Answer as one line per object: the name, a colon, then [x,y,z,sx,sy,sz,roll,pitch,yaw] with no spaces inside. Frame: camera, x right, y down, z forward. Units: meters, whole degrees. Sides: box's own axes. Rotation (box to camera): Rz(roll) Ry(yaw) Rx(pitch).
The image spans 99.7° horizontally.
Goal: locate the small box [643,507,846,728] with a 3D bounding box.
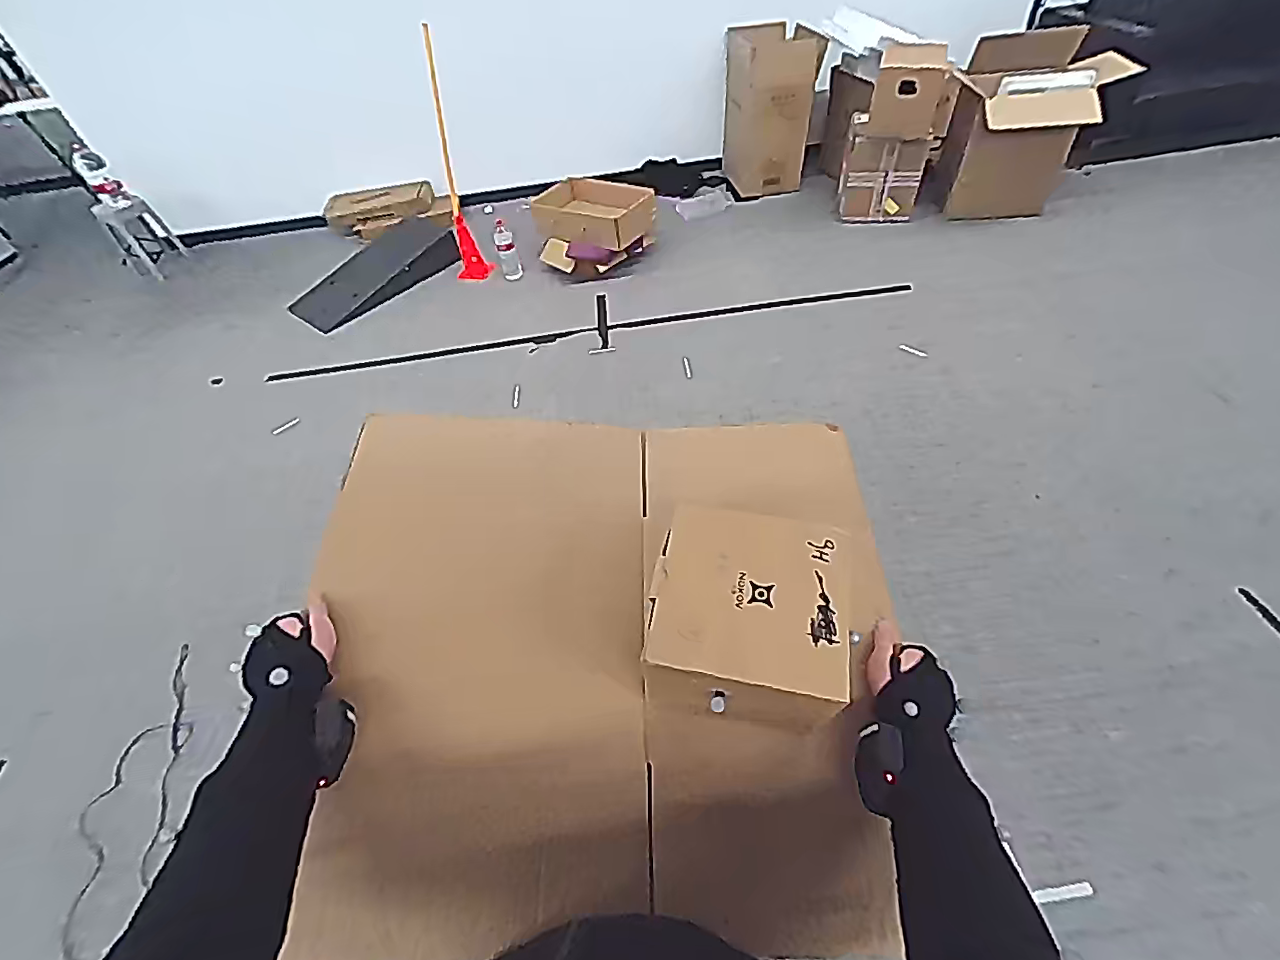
small box: [0.111,0.150,0.574,0.179,0.176,0.168,7,57,11]
